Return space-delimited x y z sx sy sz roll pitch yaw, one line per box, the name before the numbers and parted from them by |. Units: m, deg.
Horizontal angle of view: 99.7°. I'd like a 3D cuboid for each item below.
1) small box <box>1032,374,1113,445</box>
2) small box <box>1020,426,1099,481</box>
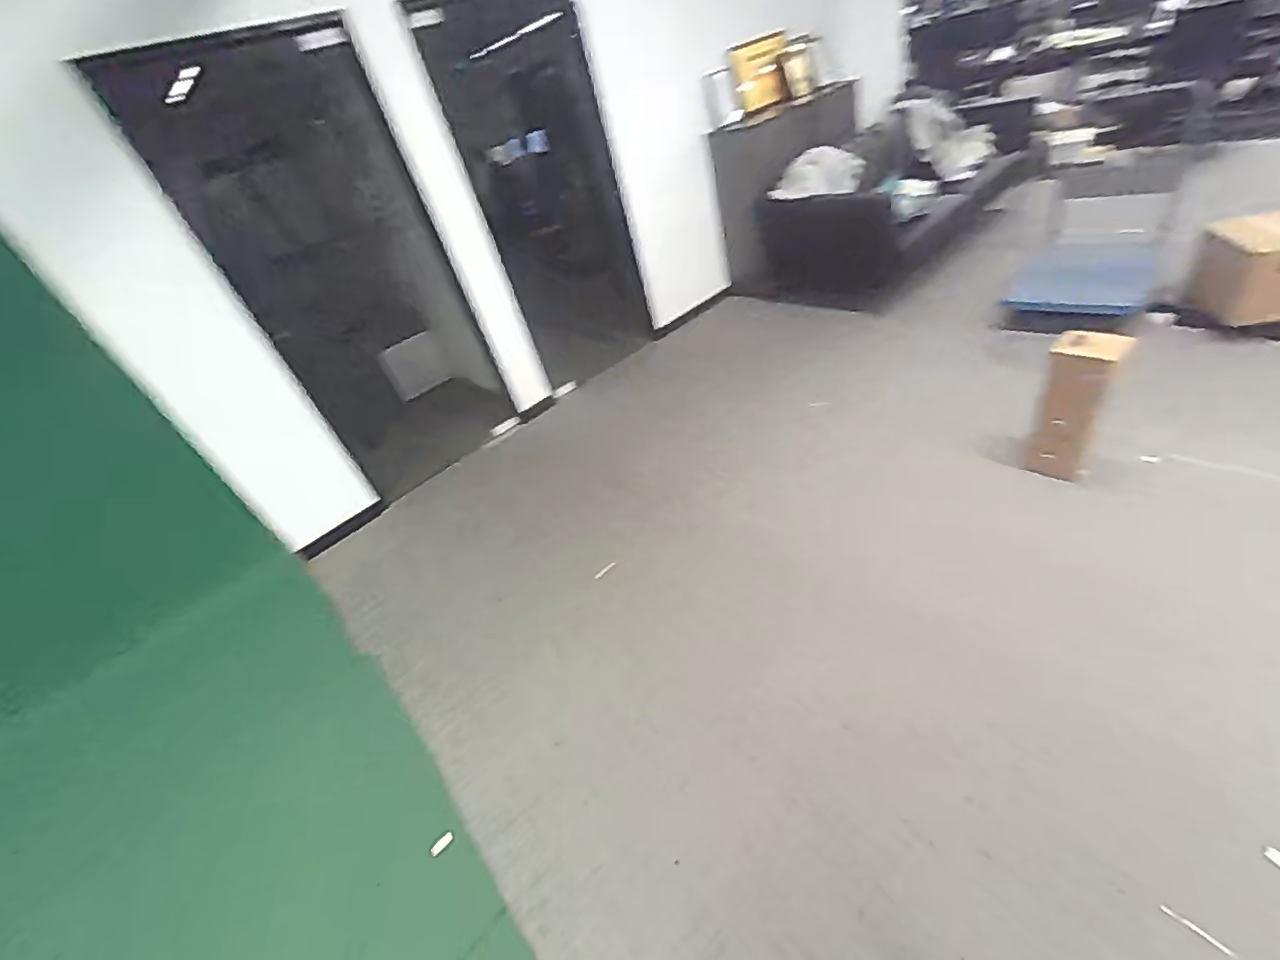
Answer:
small box | 1.520 -0.247 1.911 0.179 0.176 0.168 -36 40 -24
small box | 1.555 -0.120 2.010 0.168 0.176 0.179 -36 39 -24
